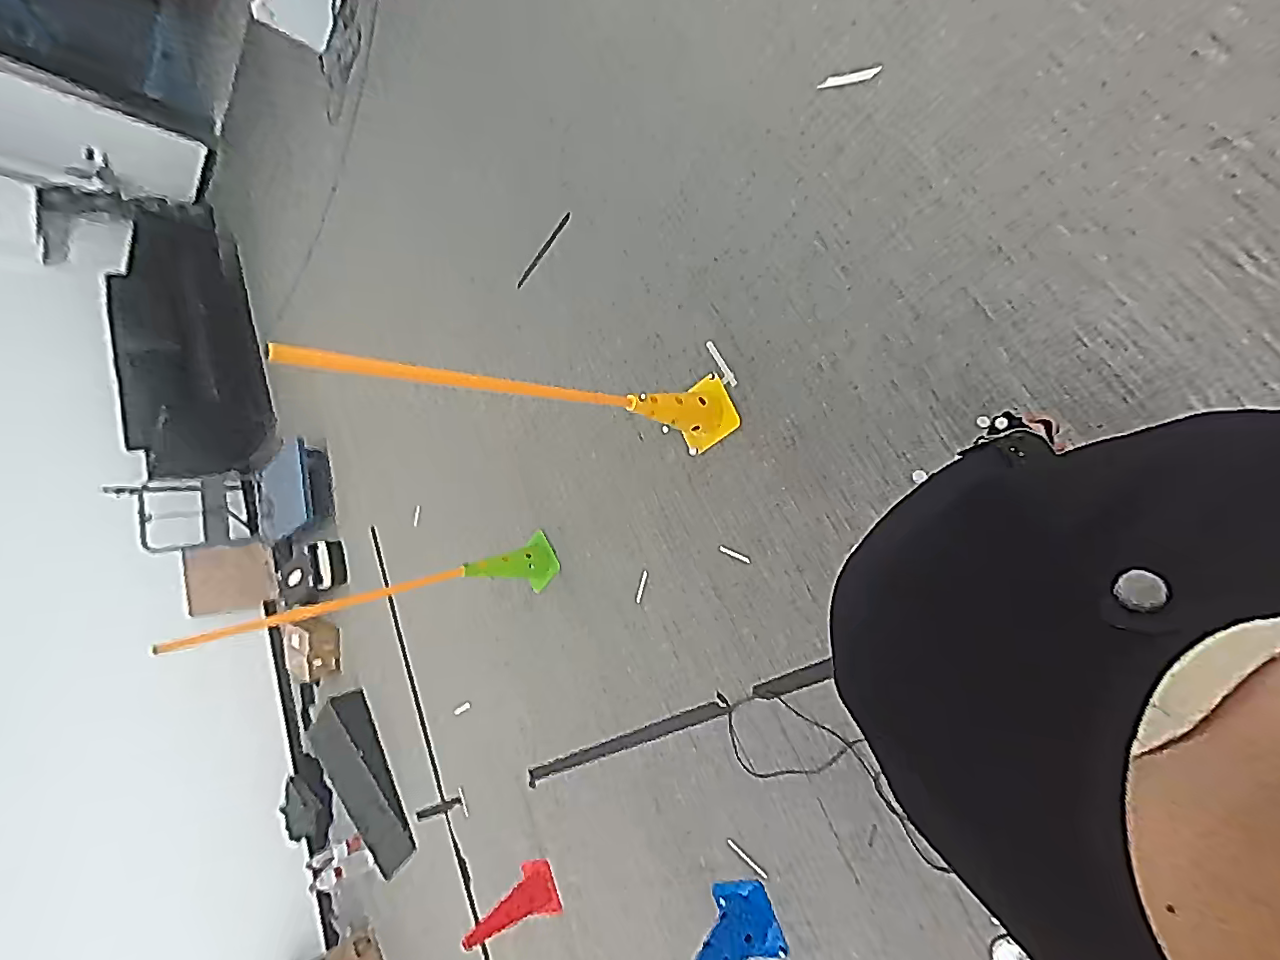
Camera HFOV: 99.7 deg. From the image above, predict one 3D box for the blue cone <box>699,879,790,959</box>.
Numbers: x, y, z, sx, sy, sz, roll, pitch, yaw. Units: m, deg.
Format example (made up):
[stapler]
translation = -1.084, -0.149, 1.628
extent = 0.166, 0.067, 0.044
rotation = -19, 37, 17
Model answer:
[blue cone]
translation = 0.221, 1.284, 1.462
extent = 0.192, 0.380, 0.193
rotation = -35, 69, 35

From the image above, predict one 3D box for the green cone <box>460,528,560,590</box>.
[green cone]
translation = -0.523, 0.322, 2.081
extent = 0.202, 0.368, 0.200
rotation = -48, 61, 28

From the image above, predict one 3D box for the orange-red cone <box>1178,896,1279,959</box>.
[orange-red cone]
translation = 0.974, 0.823, 0.788
extent = 0.198, 0.360, 0.199
rotation = -43, 62, 32
